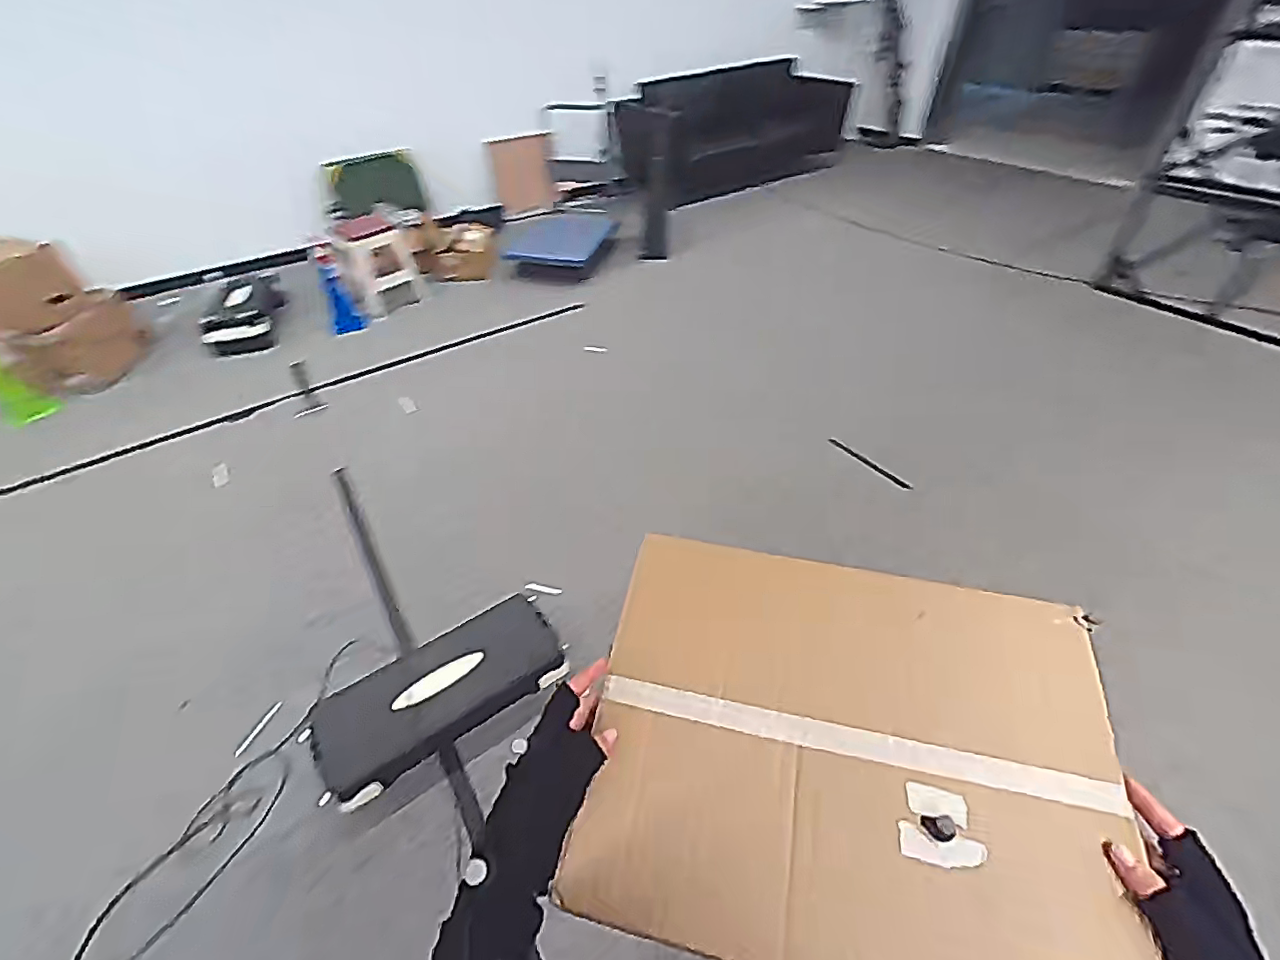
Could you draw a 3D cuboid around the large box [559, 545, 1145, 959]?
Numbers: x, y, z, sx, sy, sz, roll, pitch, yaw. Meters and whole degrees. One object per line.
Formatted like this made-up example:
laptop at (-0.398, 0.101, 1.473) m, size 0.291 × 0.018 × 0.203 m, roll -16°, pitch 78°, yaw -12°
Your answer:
large box at (0.167, 0.298, 0.567) m, size 0.408 × 0.320 × 0.320 m, roll 8°, pitch 56°, yaw 9°
